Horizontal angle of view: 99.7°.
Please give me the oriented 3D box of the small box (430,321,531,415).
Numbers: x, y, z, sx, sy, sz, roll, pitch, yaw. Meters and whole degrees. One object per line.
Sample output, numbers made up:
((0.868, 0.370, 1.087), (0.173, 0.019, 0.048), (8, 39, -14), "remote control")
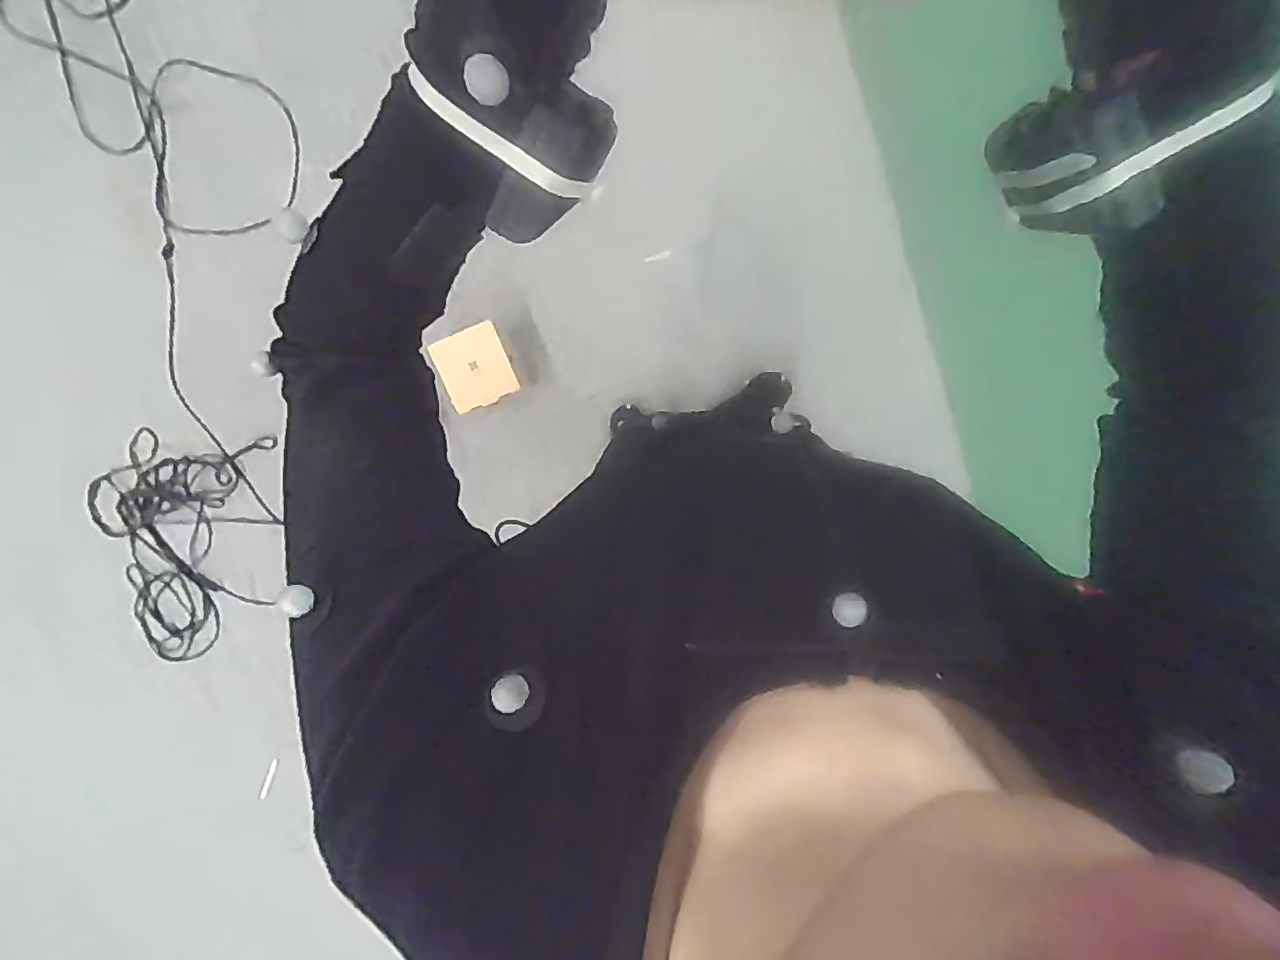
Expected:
((-0.389, -0.274, 1.348), (0.168, 0.176, 0.179), (-23, 100, 3), "small box")
